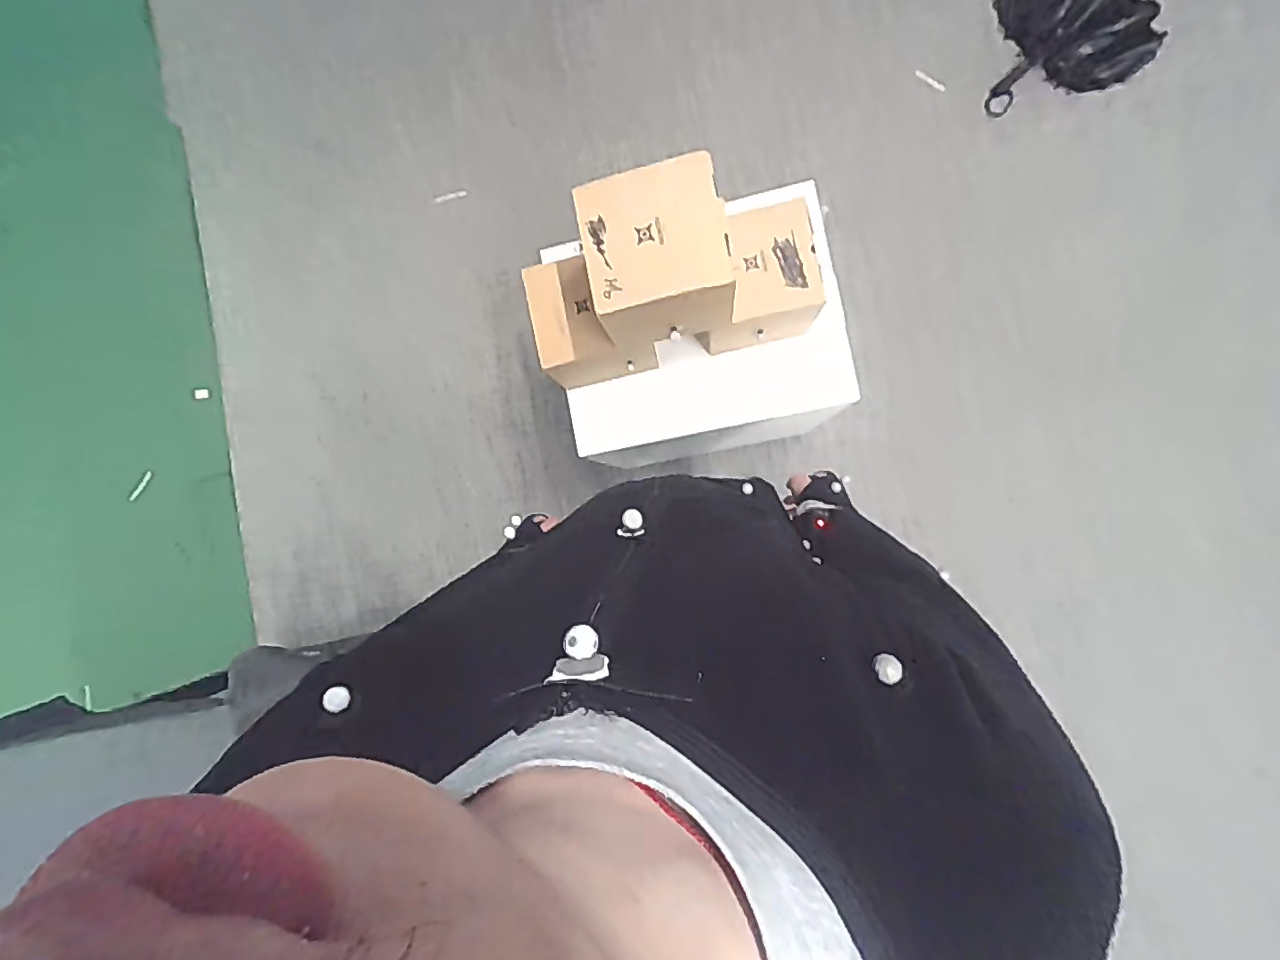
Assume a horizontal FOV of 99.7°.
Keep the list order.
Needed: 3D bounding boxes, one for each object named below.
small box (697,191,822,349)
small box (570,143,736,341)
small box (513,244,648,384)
[{"bbox_3d":[0.172,-0.324,0.866,0.179,0.176,0.168,-11,88,6],"label":"small box"},{"bbox_3d":[0.020,-0.300,0.717,0.179,0.176,0.168,-11,87,5],"label":"small box"},{"bbox_3d":[-0.086,-0.269,0.891,0.179,0.176,0.168,-13,86,5],"label":"small box"}]
